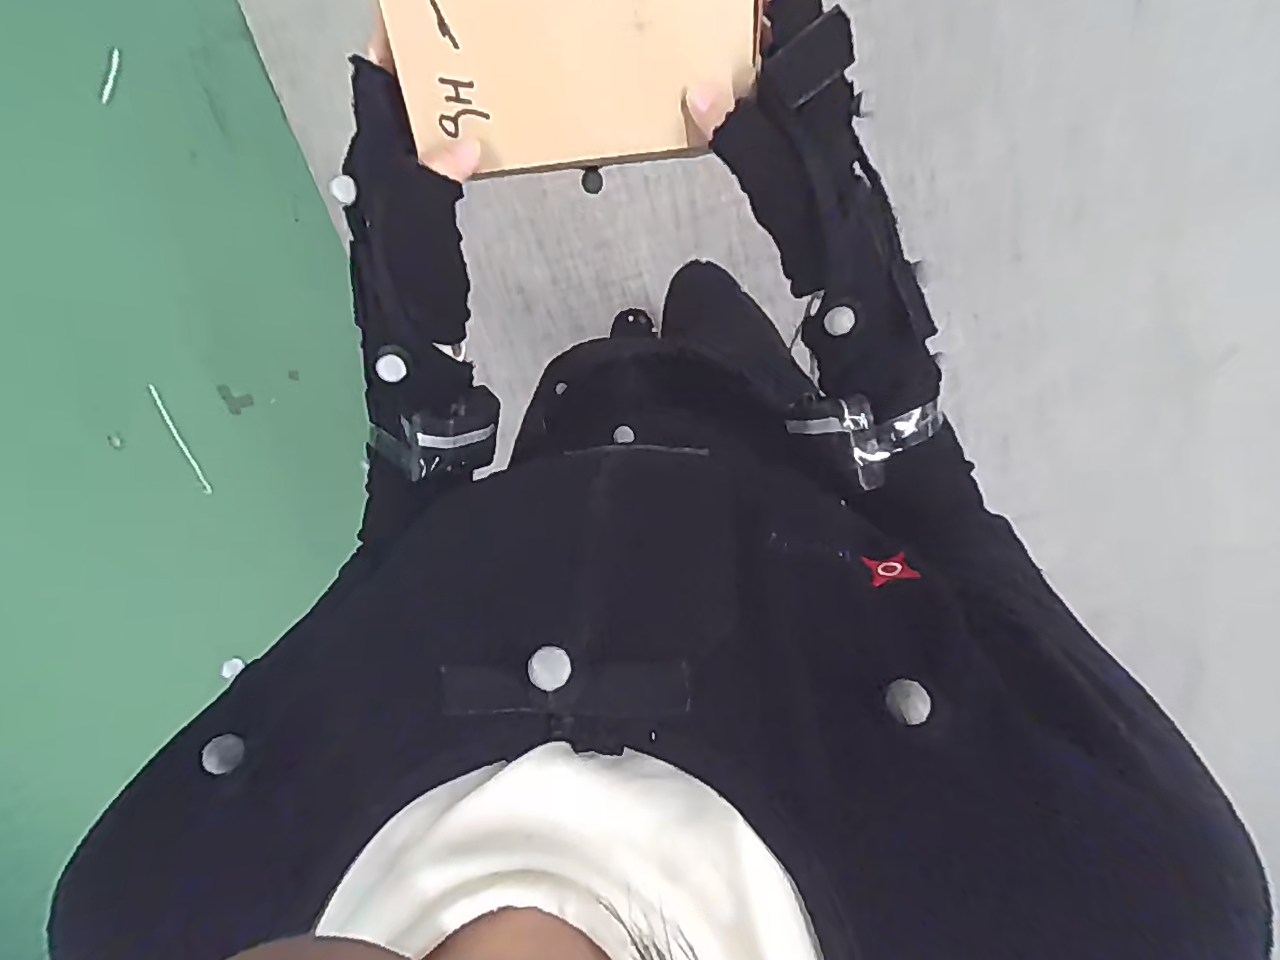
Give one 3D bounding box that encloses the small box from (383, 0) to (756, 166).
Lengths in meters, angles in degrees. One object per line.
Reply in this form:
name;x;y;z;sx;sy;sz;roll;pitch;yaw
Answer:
small box;-0.042;-0.282;0.311;0.179;0.176;0.168;-7;119;-2
